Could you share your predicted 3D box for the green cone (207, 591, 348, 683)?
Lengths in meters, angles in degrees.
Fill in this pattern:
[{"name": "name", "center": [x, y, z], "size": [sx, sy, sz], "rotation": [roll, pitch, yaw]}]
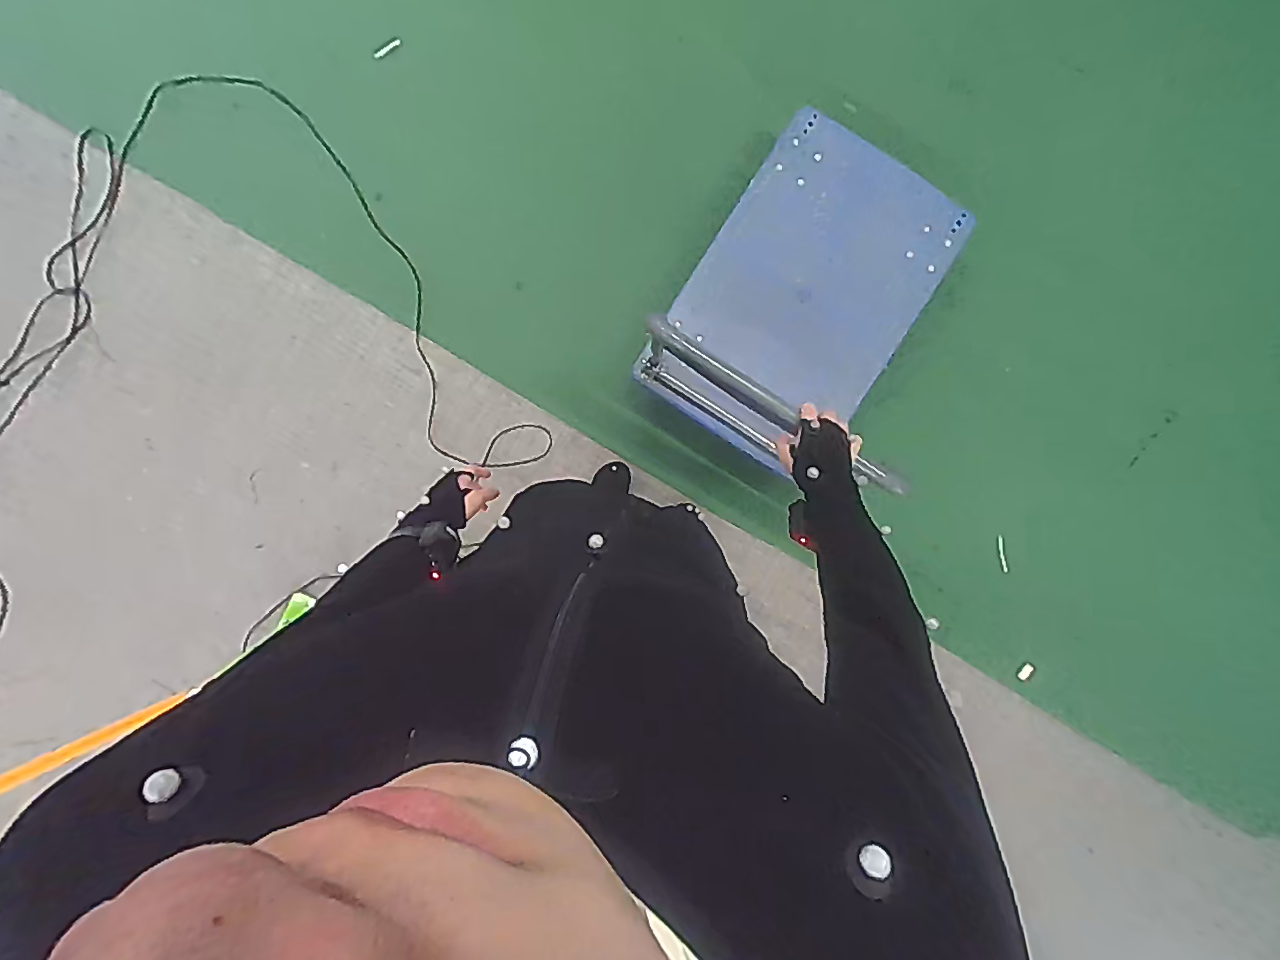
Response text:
[{"name": "green cone", "center": [-1.014, 0.464, 1.477], "size": [0.202, 0.368, 0.200], "rotation": [27, 92, 1]}]
